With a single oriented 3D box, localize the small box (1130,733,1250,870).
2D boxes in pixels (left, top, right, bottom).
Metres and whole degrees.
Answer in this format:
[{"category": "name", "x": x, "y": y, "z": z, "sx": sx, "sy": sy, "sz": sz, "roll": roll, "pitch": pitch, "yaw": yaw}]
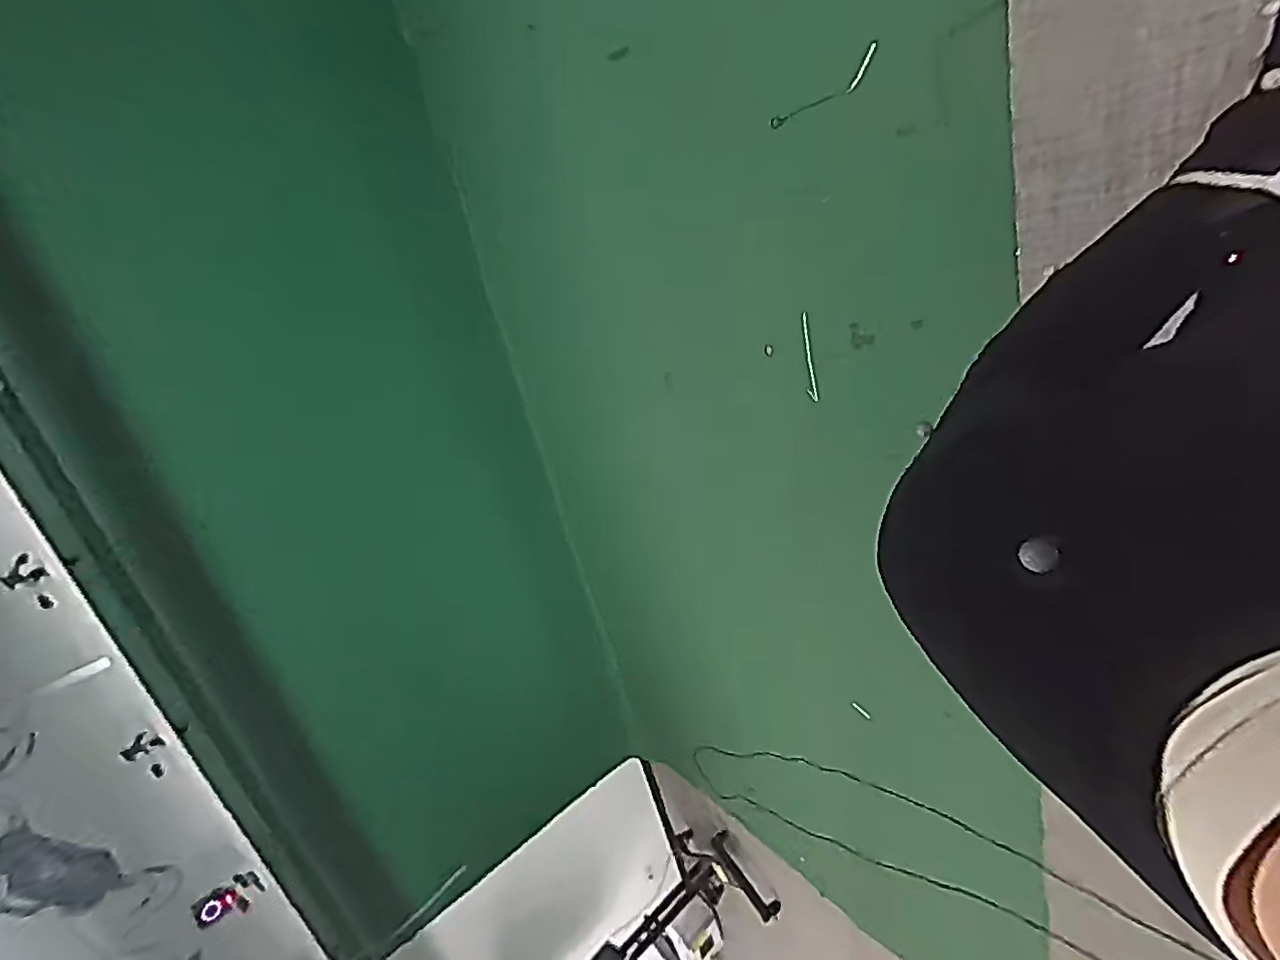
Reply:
[{"category": "small box", "x": 1.291, "y": 0.746, "z": 1.271, "sx": 0.168, "sy": 0.176, "sz": 0.179, "roll": 14, "pitch": 124, "yaw": 49}]
